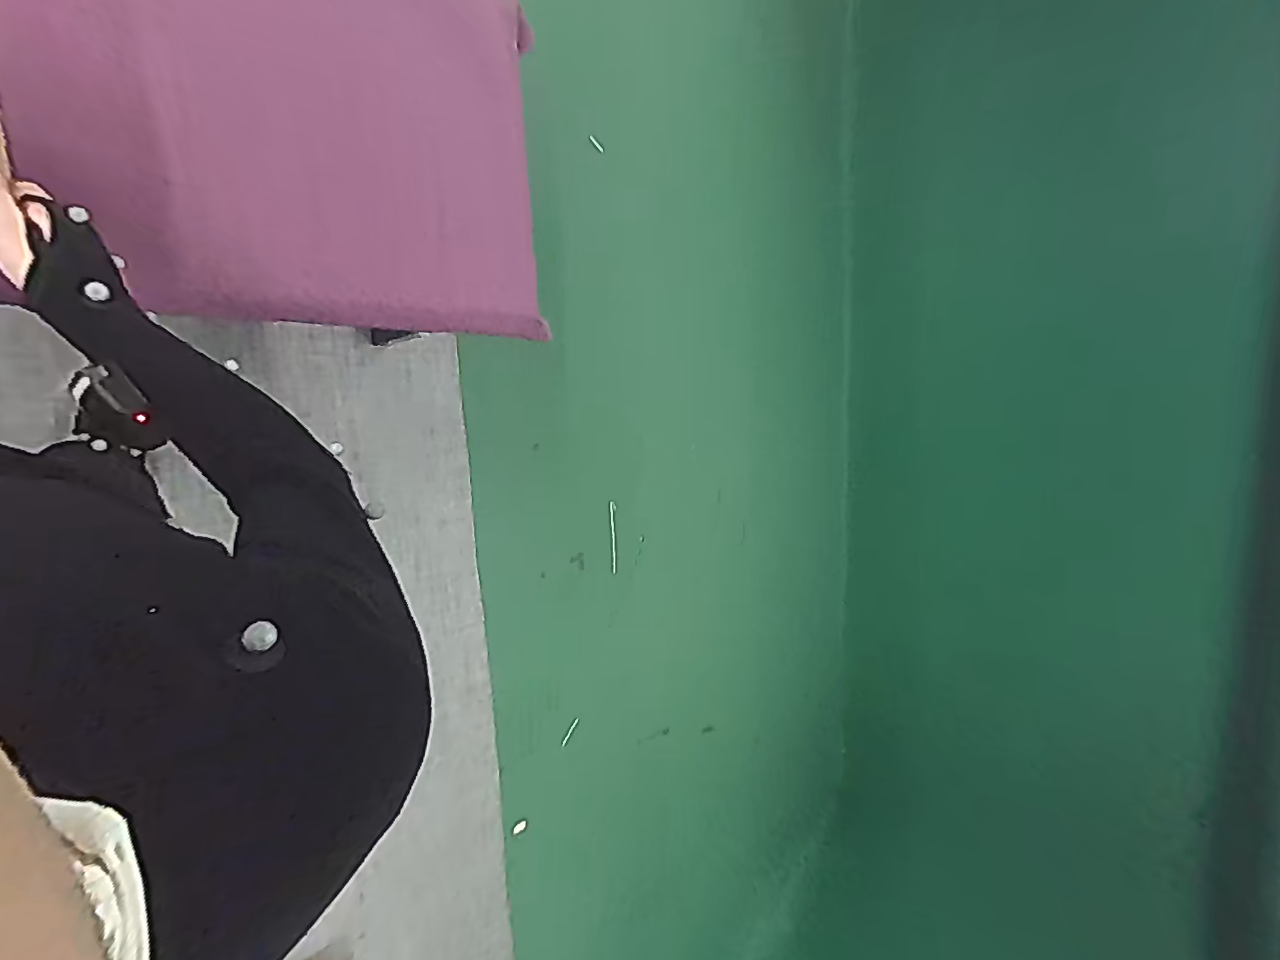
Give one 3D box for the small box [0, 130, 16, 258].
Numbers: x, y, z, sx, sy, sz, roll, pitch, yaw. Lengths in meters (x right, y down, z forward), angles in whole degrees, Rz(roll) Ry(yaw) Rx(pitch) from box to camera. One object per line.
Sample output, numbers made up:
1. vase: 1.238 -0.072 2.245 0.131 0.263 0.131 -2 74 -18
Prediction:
1. small box: -0.660 -0.308 0.439 0.168 0.176 0.179 -9 90 -38
